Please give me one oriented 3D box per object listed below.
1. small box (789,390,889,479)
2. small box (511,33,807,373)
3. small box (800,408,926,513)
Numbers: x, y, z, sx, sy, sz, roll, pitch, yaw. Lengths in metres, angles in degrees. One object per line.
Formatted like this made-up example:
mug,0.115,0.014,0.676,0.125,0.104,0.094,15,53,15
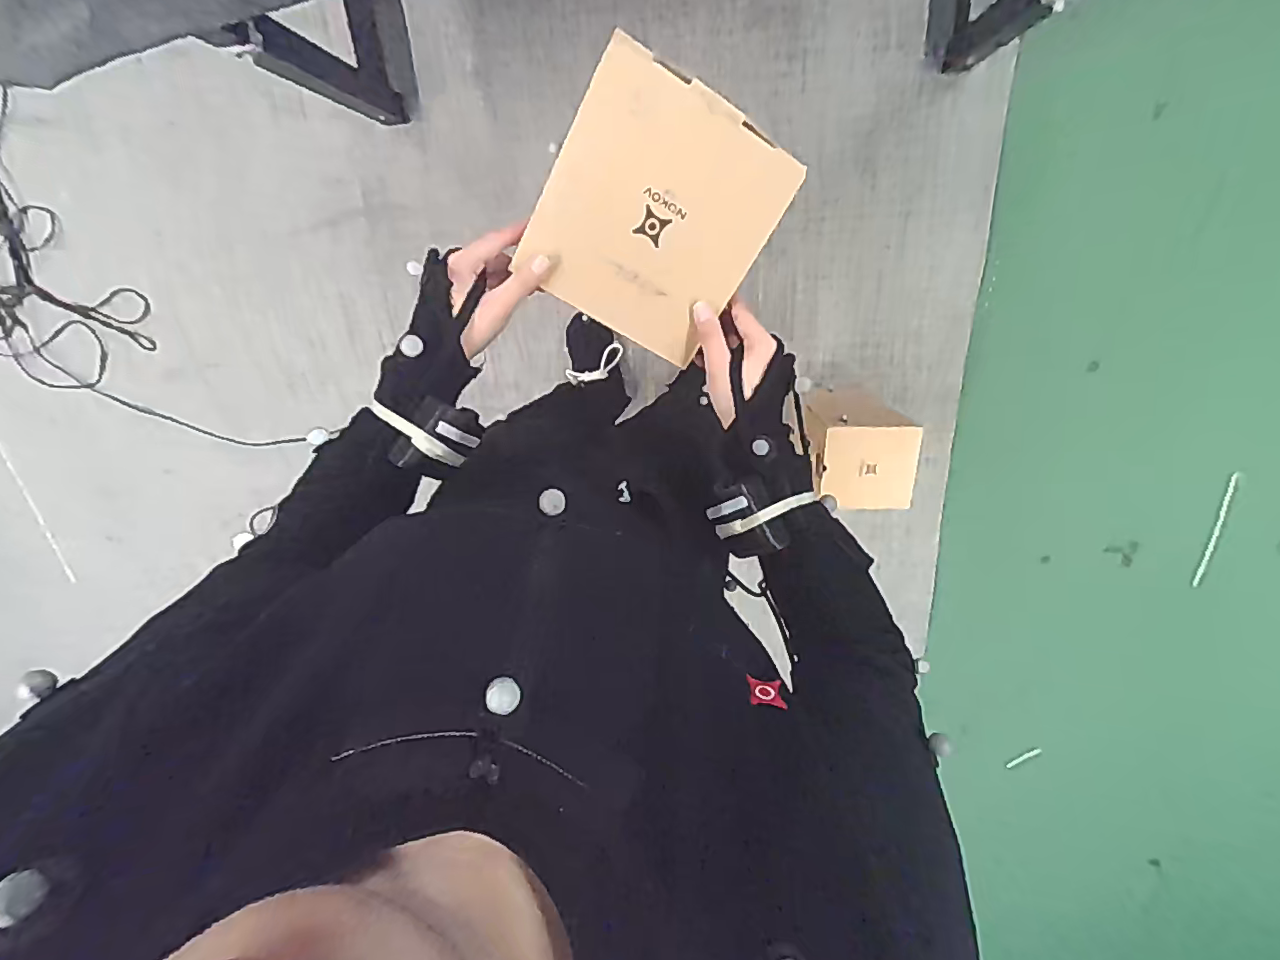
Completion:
small box,0.439,-0.106,1.224,0.179,0.176,0.168,-1,111,6
small box,0.008,-0.227,0.473,0.168,0.176,0.179,26,114,-14
small box,0.430,-0.043,1.072,0.179,0.176,0.168,0,112,4
